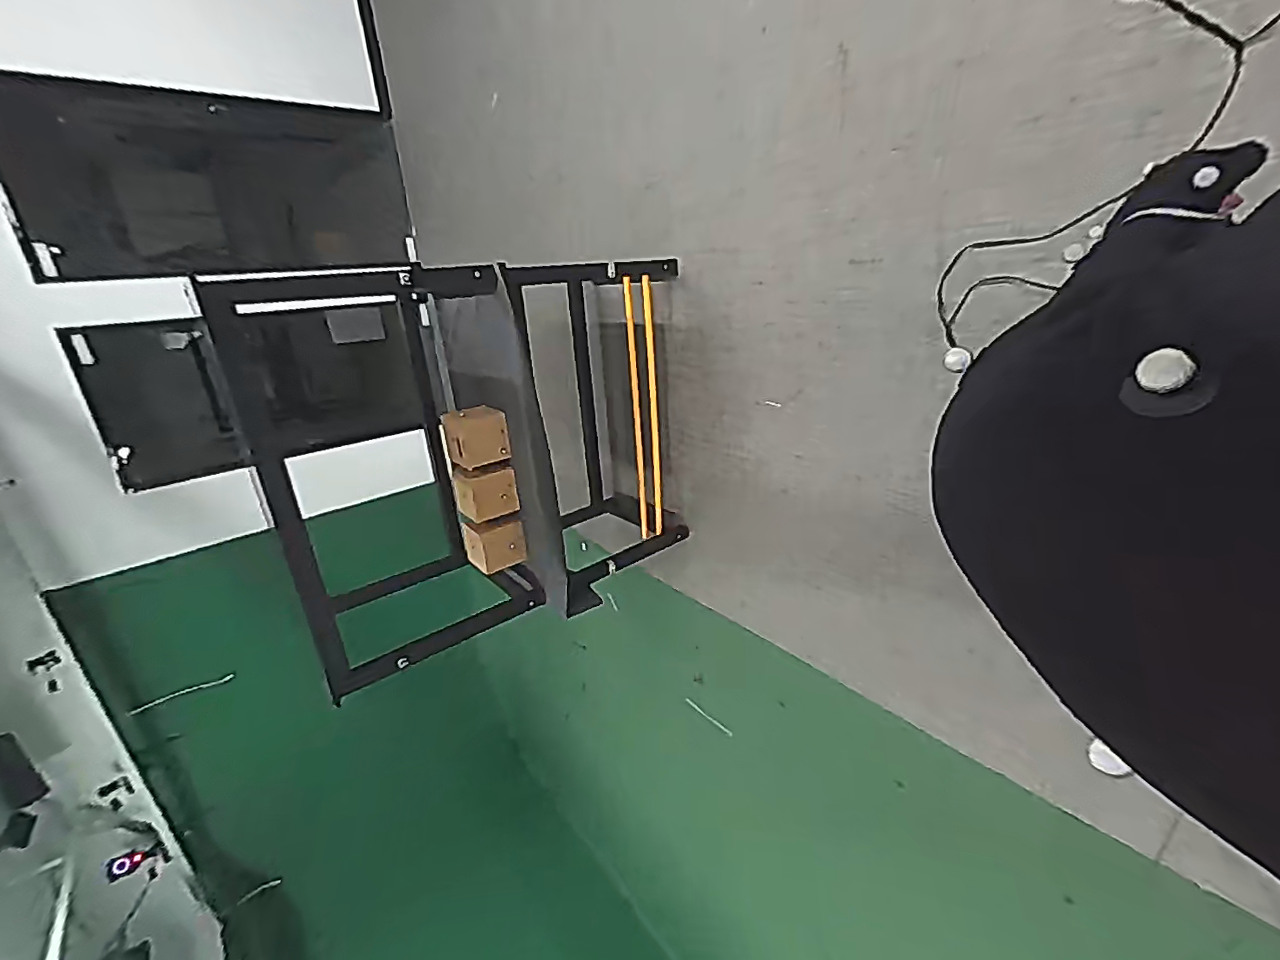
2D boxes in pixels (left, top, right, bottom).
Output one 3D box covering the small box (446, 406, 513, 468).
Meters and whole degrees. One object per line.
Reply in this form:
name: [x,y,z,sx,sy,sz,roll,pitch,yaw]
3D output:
small box: [-0.559,-0.158,1.909,0.179,0.176,0.168,22,123,48]
